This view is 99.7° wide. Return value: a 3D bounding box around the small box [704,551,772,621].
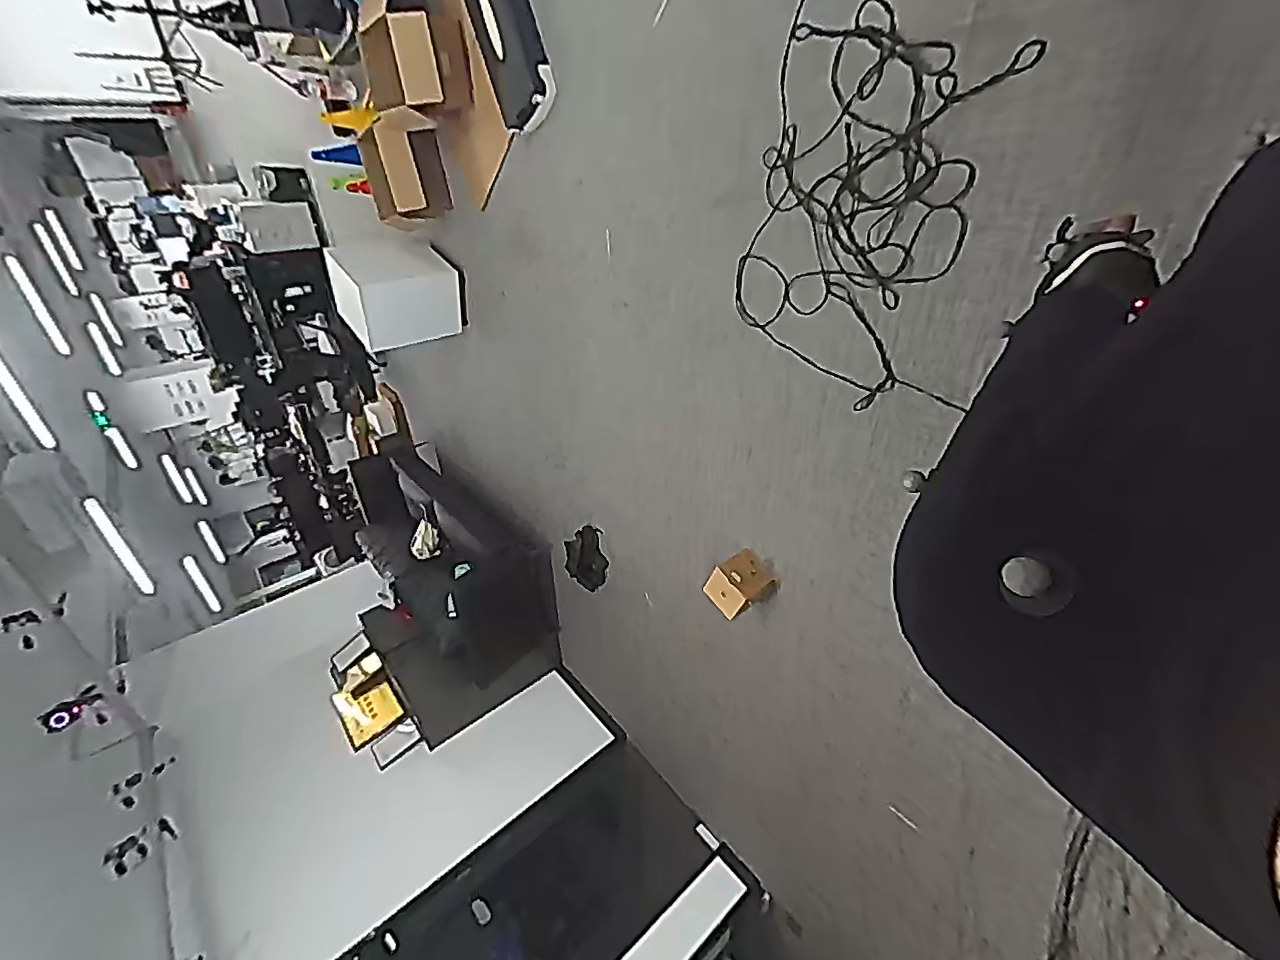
[{"bbox_3d":[0.383,0.411,2.108,0.168,0.176,0.179,48,143,25],"label":"small box"}]
